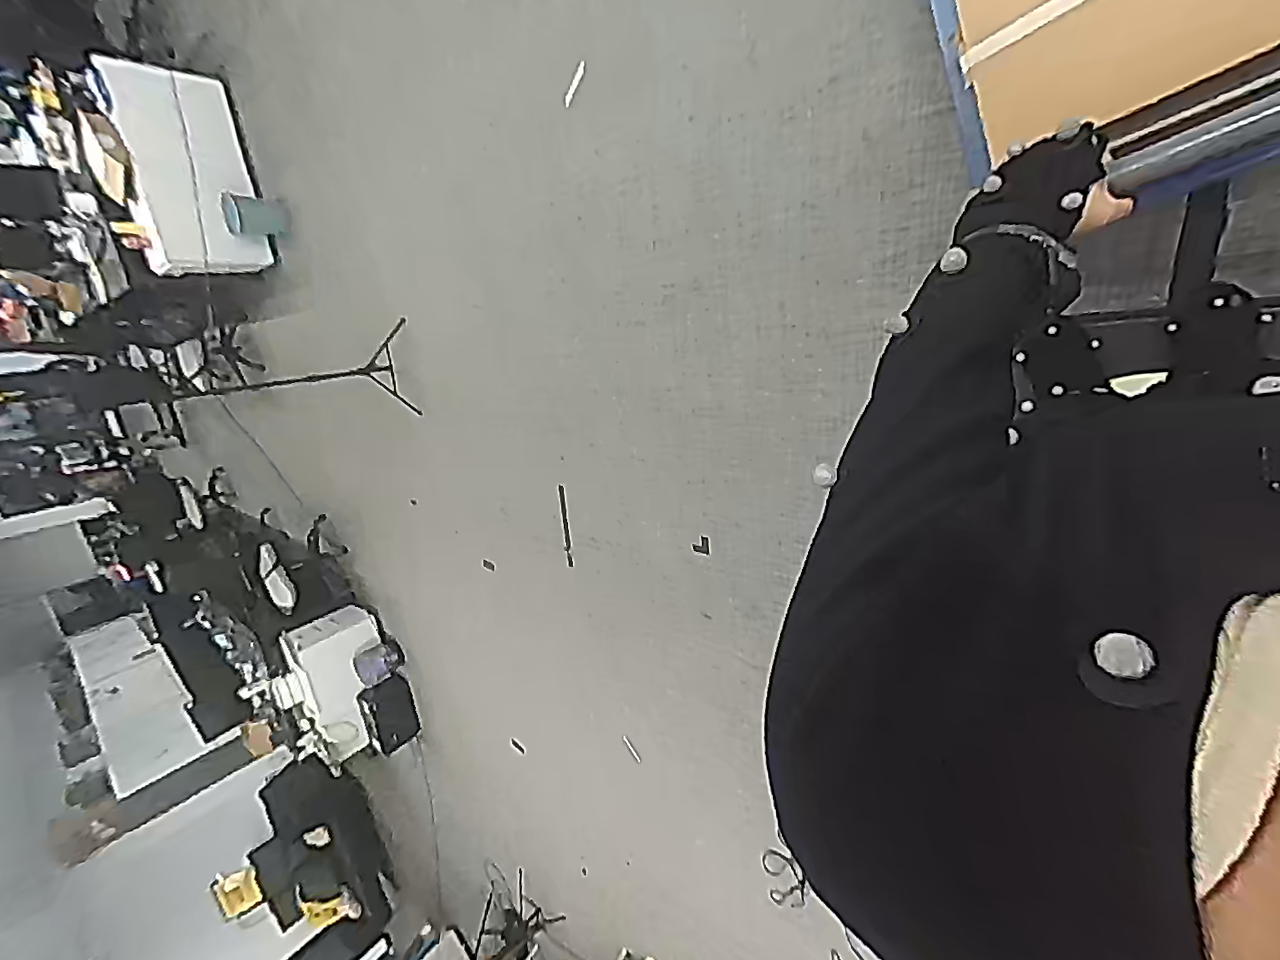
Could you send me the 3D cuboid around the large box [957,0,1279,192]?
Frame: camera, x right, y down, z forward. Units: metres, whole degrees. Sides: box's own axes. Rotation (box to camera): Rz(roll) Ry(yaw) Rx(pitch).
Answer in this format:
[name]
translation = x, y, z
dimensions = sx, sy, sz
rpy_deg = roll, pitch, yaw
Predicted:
[large box]
translation = 0.684, -0.646, 0.710
dimensions = 0.408, 0.320, 0.320
rpy_deg = -12, 99, 42
